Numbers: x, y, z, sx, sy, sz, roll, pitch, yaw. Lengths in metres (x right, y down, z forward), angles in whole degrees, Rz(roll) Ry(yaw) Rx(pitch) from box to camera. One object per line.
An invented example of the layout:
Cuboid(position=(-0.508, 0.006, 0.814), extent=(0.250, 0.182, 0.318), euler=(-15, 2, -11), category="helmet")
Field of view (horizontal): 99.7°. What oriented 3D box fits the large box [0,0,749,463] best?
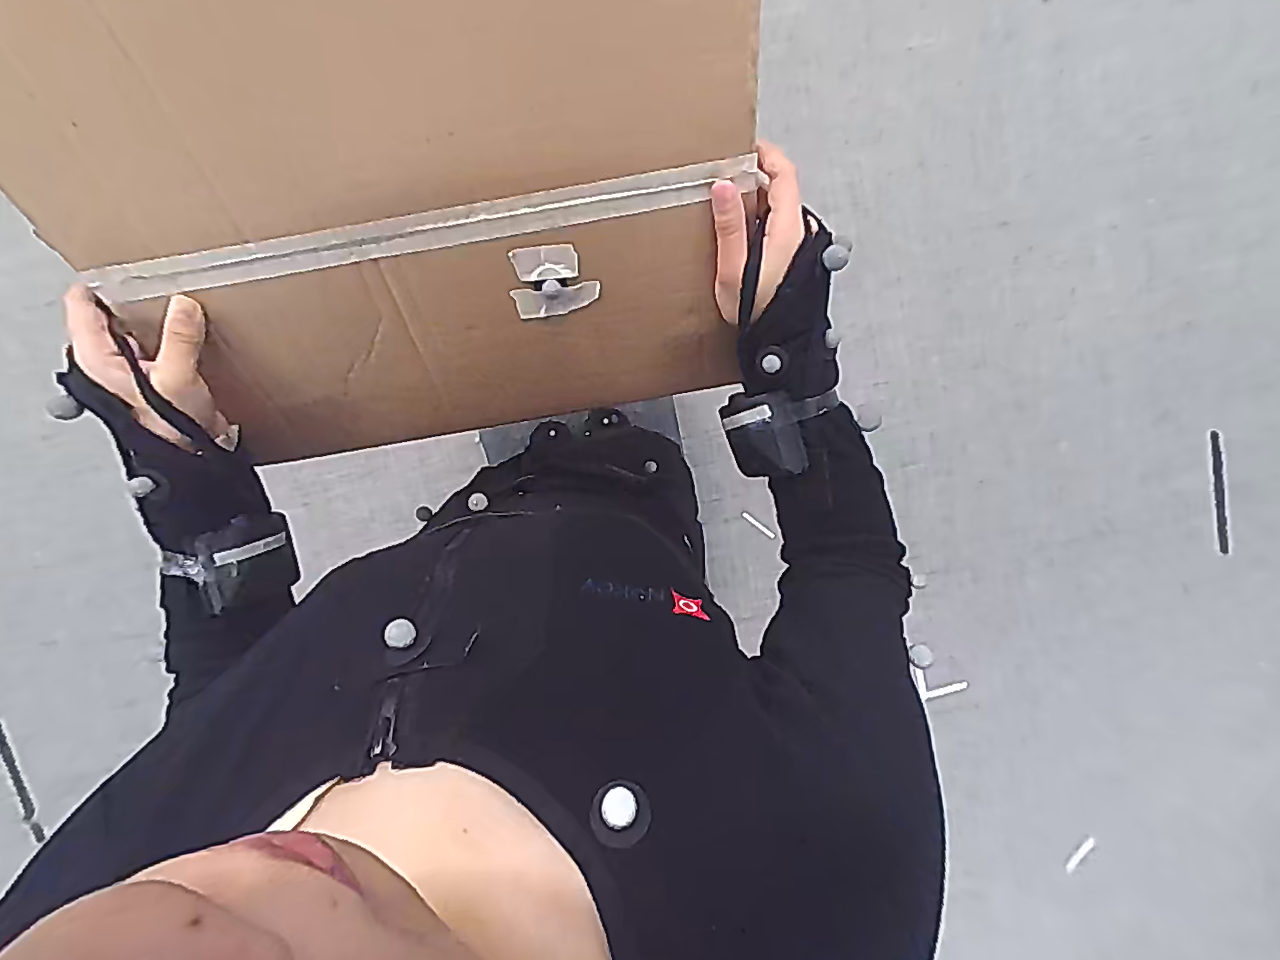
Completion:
Cuboid(position=(-0.151, -0.260, 0.442), extent=(0.408, 0.320, 0.320), euler=(-11, 137, -1), category="large box")
